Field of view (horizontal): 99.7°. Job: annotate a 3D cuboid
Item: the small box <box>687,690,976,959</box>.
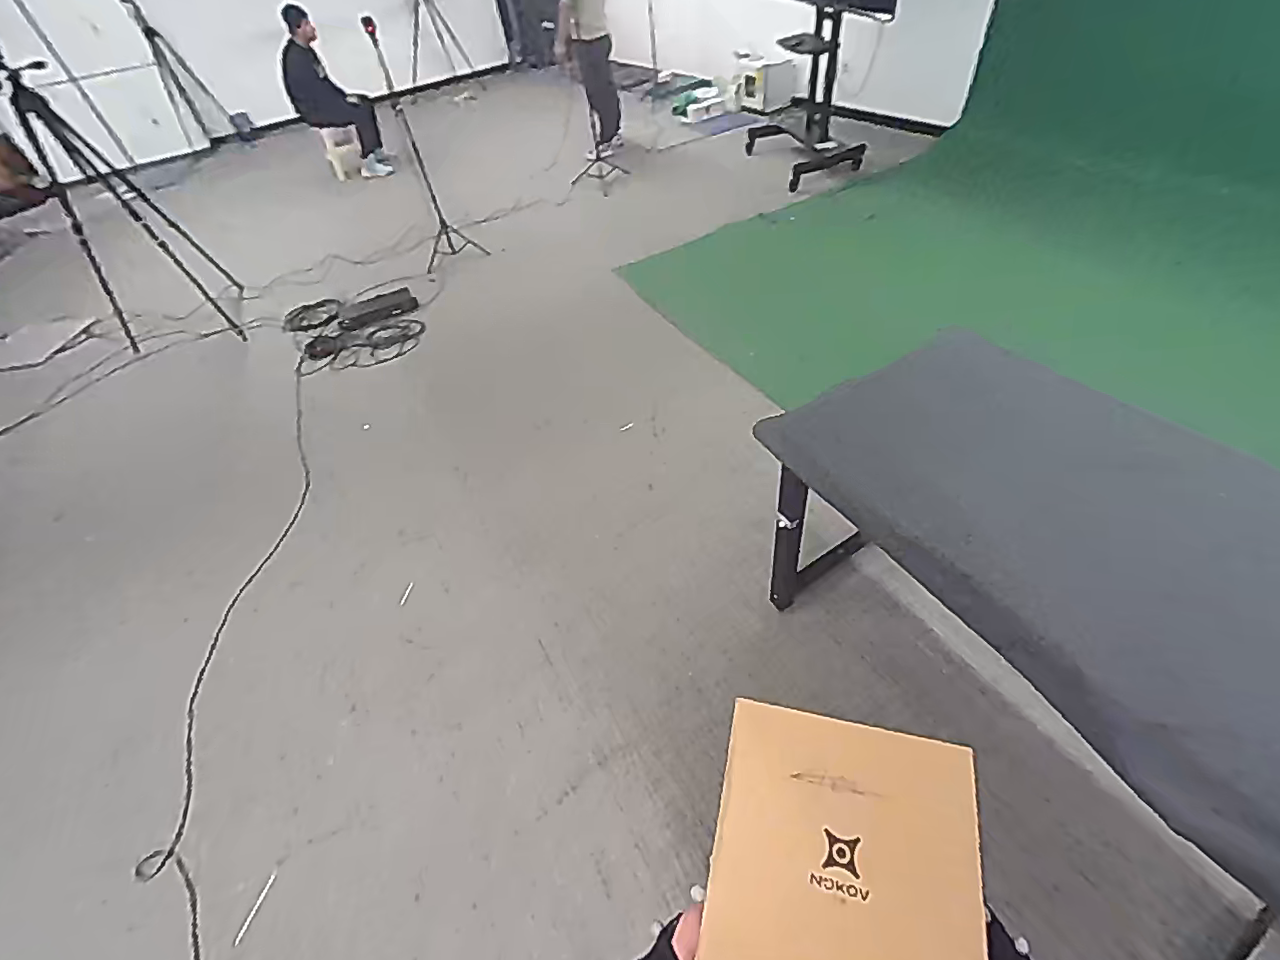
[{"bbox_3d":[0.141,0.290,0.418,0.168,0.176,0.179,8,55,16],"label":"small box"}]
